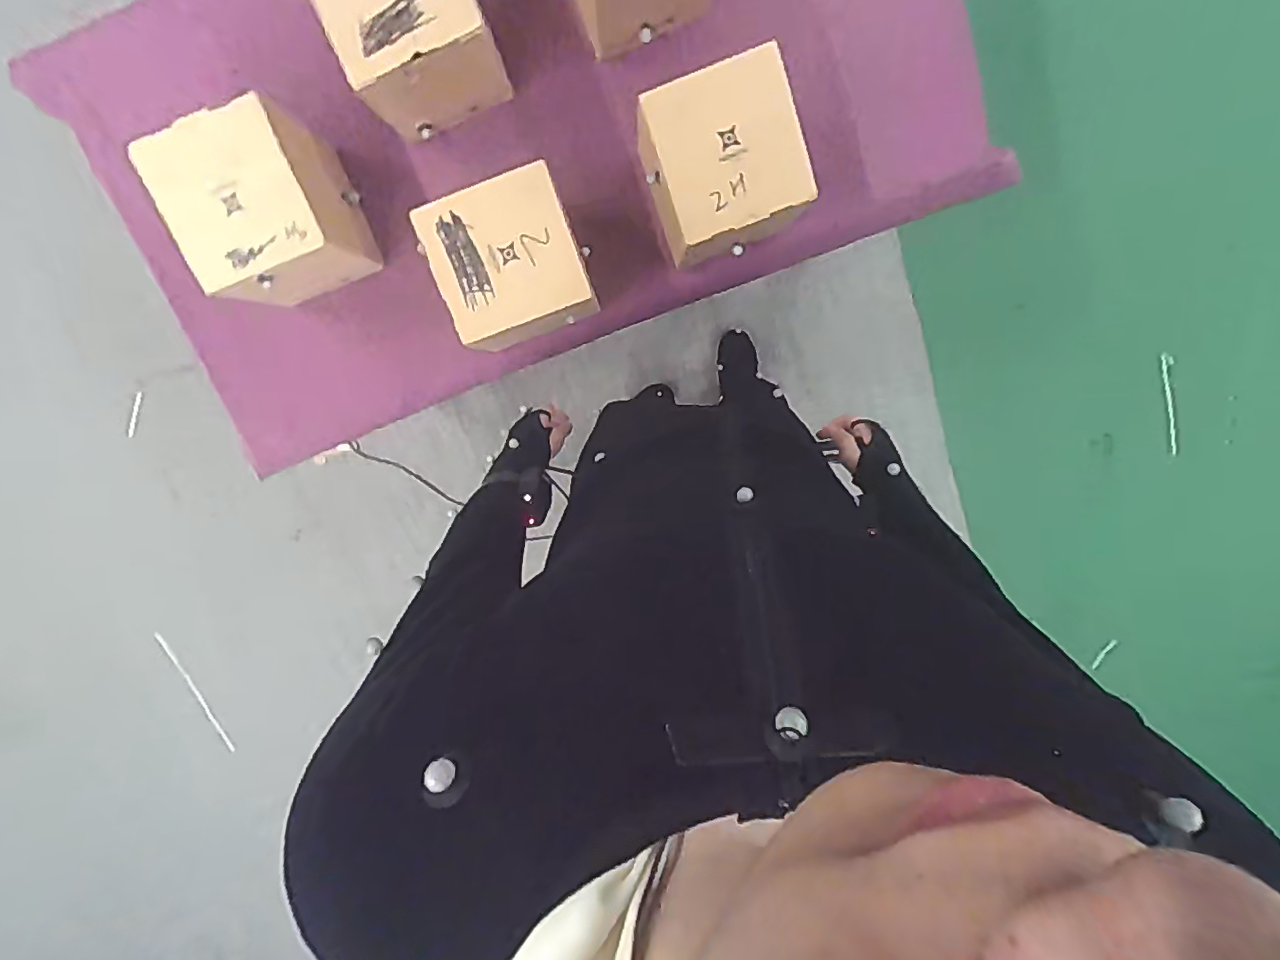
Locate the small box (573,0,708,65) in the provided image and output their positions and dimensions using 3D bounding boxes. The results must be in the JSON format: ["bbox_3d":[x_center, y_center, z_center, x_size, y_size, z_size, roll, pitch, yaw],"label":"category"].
[{"bbox_3d":[-0.015,-0.661,0.651,0.168,0.176,0.179,-22,103,5],"label":"small box"}]

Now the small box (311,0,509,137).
[{"bbox_3d":[-0.281,-0.561,0.667,0.168,0.176,0.179,-22,101,4],"label":"small box"}]

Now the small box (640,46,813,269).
[{"bbox_3d":[0.100,-0.400,0.707,0.168,0.176,0.179,-19,101,4],"label":"small box"}]

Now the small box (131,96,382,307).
[{"bbox_3d":[-0.480,-0.345,0.708,0.168,0.176,0.179,-20,102,5],"label":"small box"}]
